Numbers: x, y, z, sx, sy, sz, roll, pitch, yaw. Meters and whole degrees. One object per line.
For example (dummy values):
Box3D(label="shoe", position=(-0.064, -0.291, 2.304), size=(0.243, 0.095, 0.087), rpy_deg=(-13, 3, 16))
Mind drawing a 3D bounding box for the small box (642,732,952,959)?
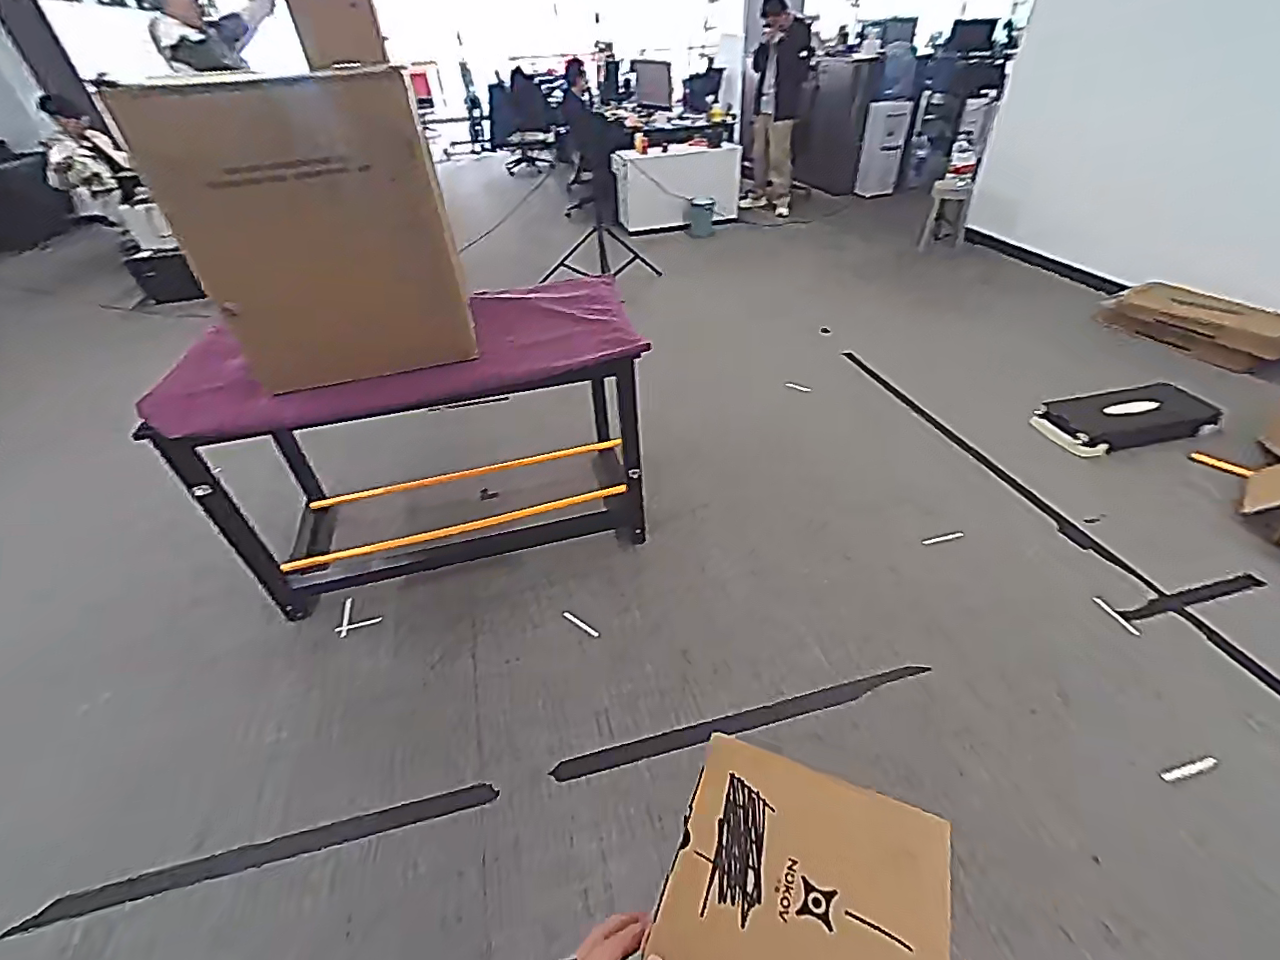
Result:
Box3D(label="small box", position=(0.114, 0.332, 0.406), size=(0.179, 0.176, 0.168), rpy_deg=(13, 43, 19))
